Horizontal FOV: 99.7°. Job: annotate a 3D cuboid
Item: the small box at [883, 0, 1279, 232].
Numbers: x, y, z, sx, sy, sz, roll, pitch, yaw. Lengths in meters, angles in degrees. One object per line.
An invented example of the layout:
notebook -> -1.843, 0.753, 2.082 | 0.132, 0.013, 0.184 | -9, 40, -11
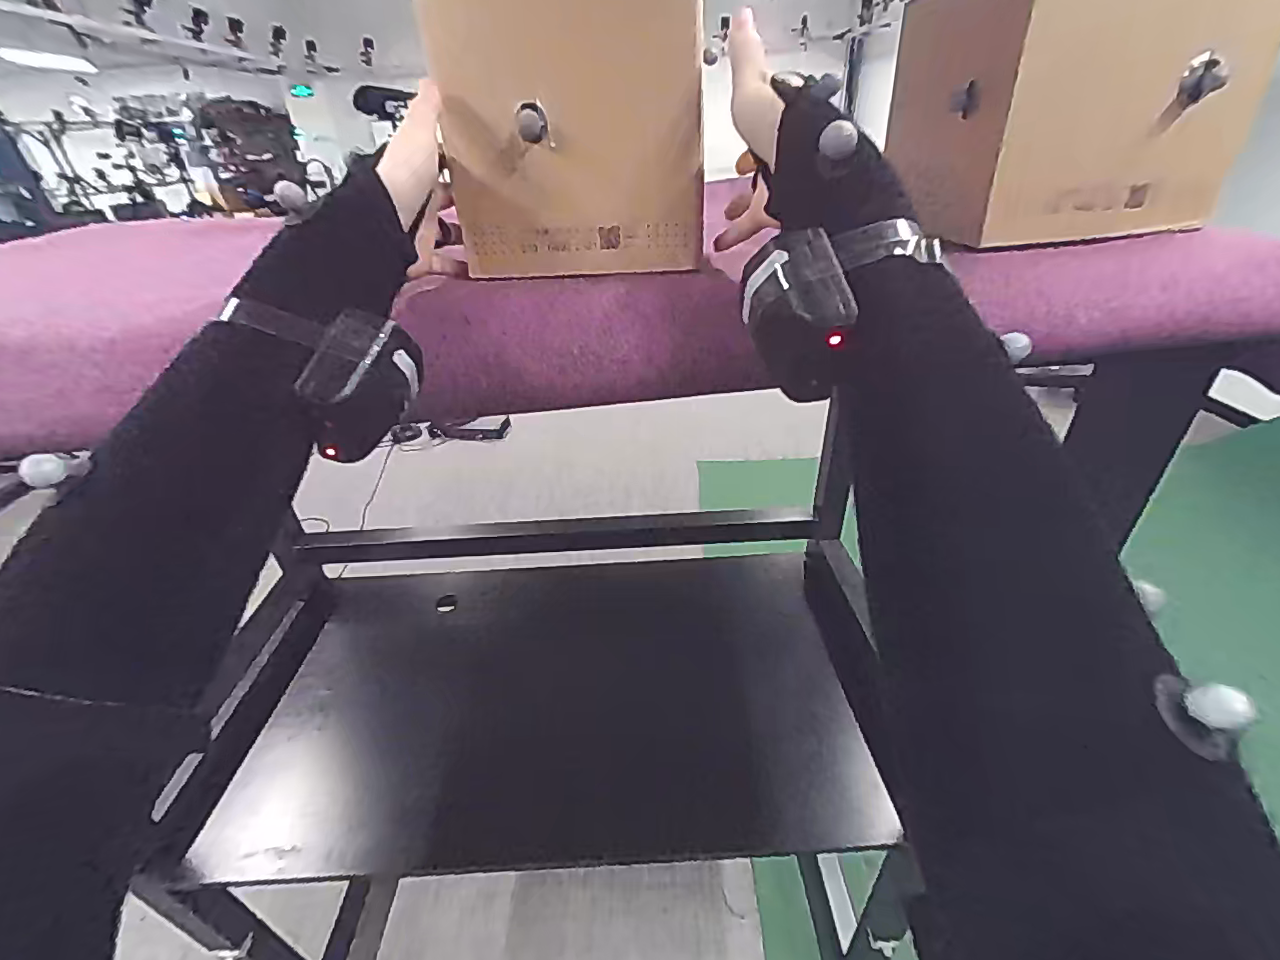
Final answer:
small box -> 0.308, -0.287, 0.407 | 0.168, 0.176, 0.179 | -4, 30, -1

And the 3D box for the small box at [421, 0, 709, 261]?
small box -> -0.033, -0.263, 0.404 | 0.168, 0.176, 0.179 | 0, 31, 5
